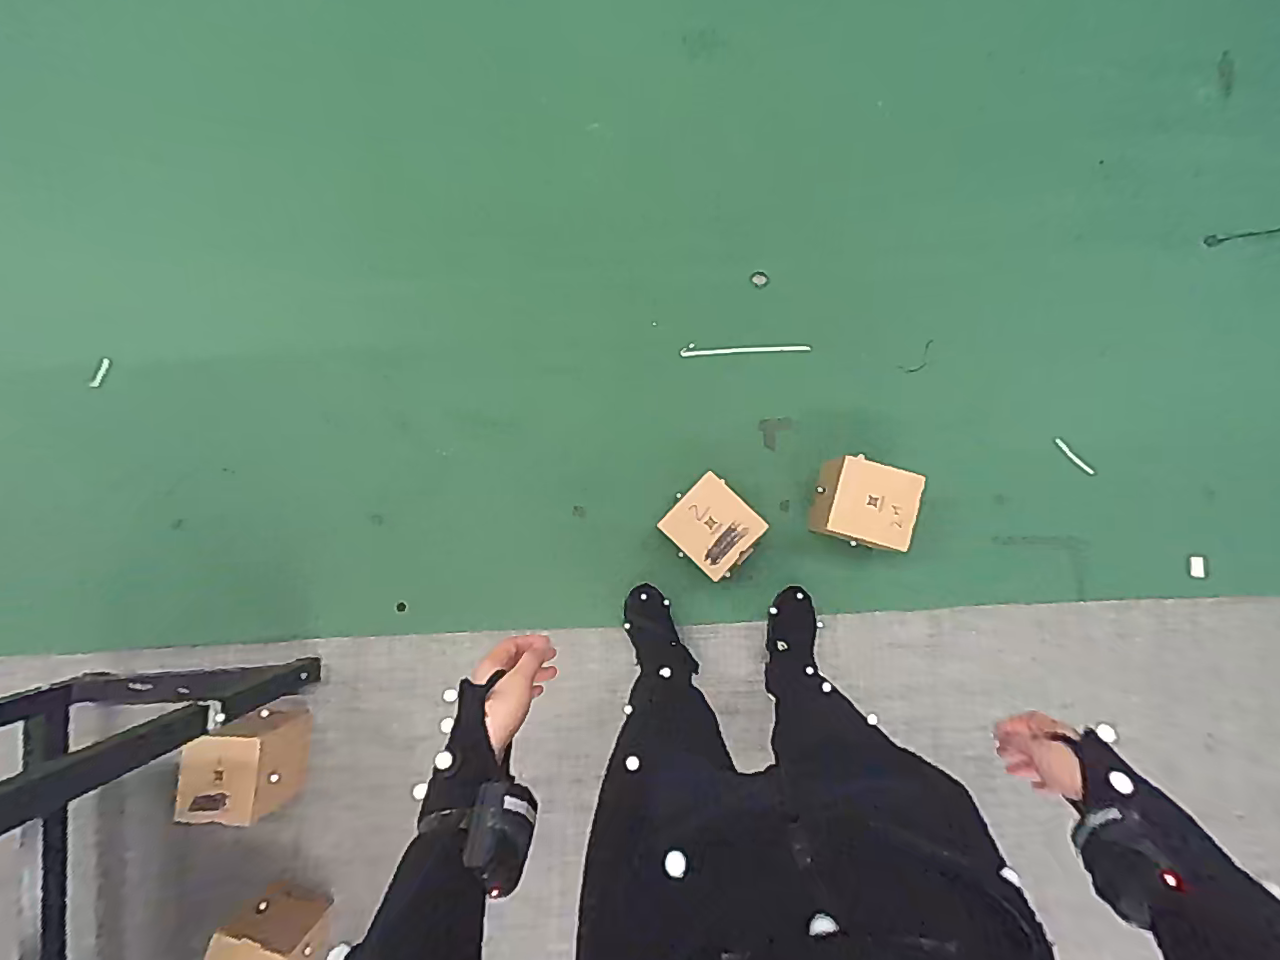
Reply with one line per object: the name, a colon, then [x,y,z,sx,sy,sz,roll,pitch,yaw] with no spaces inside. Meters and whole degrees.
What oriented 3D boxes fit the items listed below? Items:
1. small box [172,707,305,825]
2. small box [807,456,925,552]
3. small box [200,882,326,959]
small box: [-0.876,0.623,1.195,0.168,0.176,0.179,3,85,1]
small box: [0.494,0.055,1.210,0.179,0.176,0.168,16,87,1]
small box: [-0.819,1.025,1.168,0.168,0.176,0.179,17,88,3]
